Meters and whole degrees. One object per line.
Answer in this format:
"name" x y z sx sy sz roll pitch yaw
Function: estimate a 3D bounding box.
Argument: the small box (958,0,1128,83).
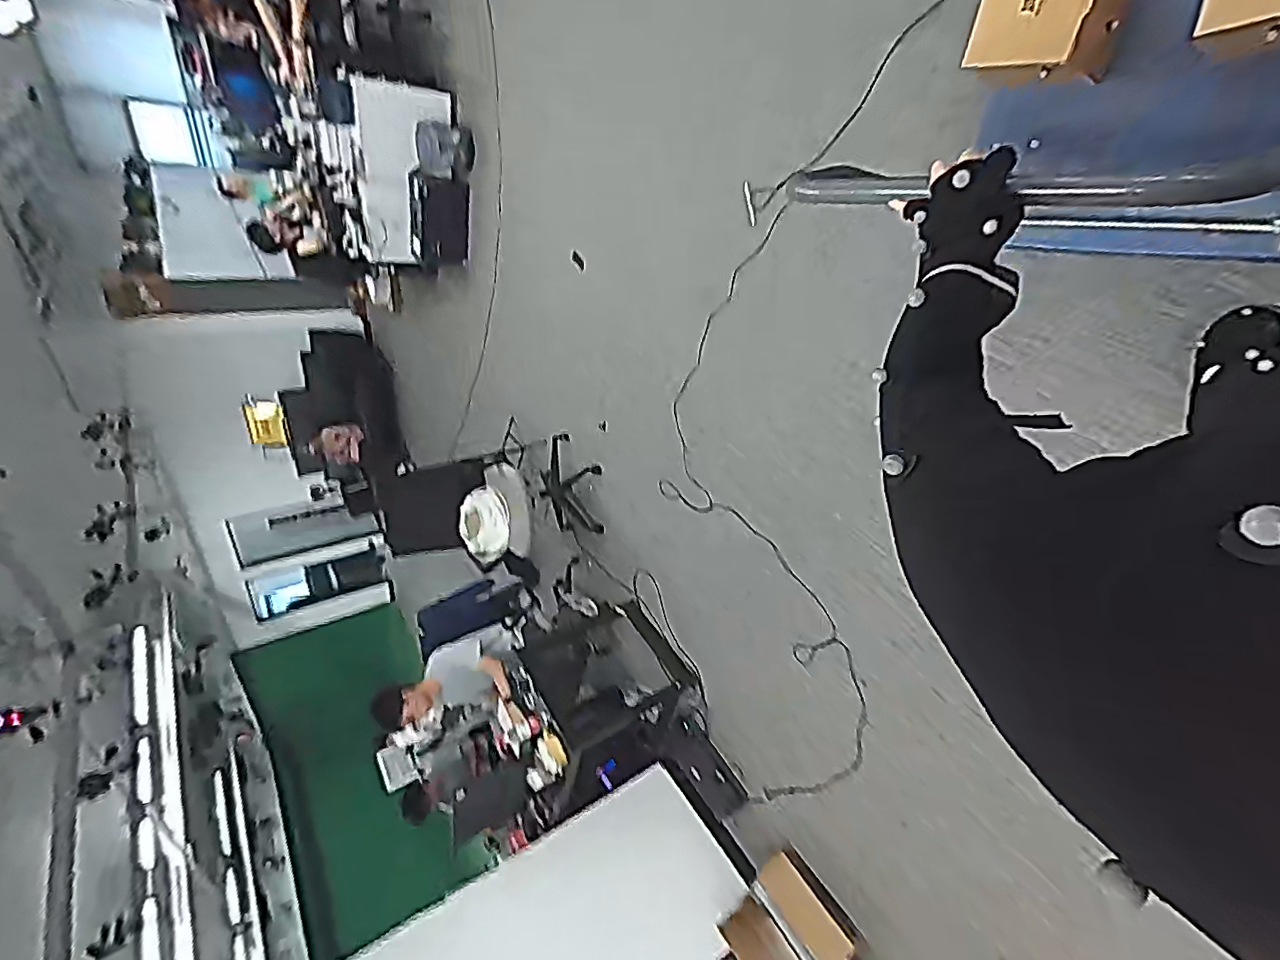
"small box" 0.700 -0.801 0.931 0.179 0.176 0.168 35 130 42

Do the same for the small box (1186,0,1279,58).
"small box" 0.886 -0.690 0.713 0.179 0.176 0.168 26 124 48
